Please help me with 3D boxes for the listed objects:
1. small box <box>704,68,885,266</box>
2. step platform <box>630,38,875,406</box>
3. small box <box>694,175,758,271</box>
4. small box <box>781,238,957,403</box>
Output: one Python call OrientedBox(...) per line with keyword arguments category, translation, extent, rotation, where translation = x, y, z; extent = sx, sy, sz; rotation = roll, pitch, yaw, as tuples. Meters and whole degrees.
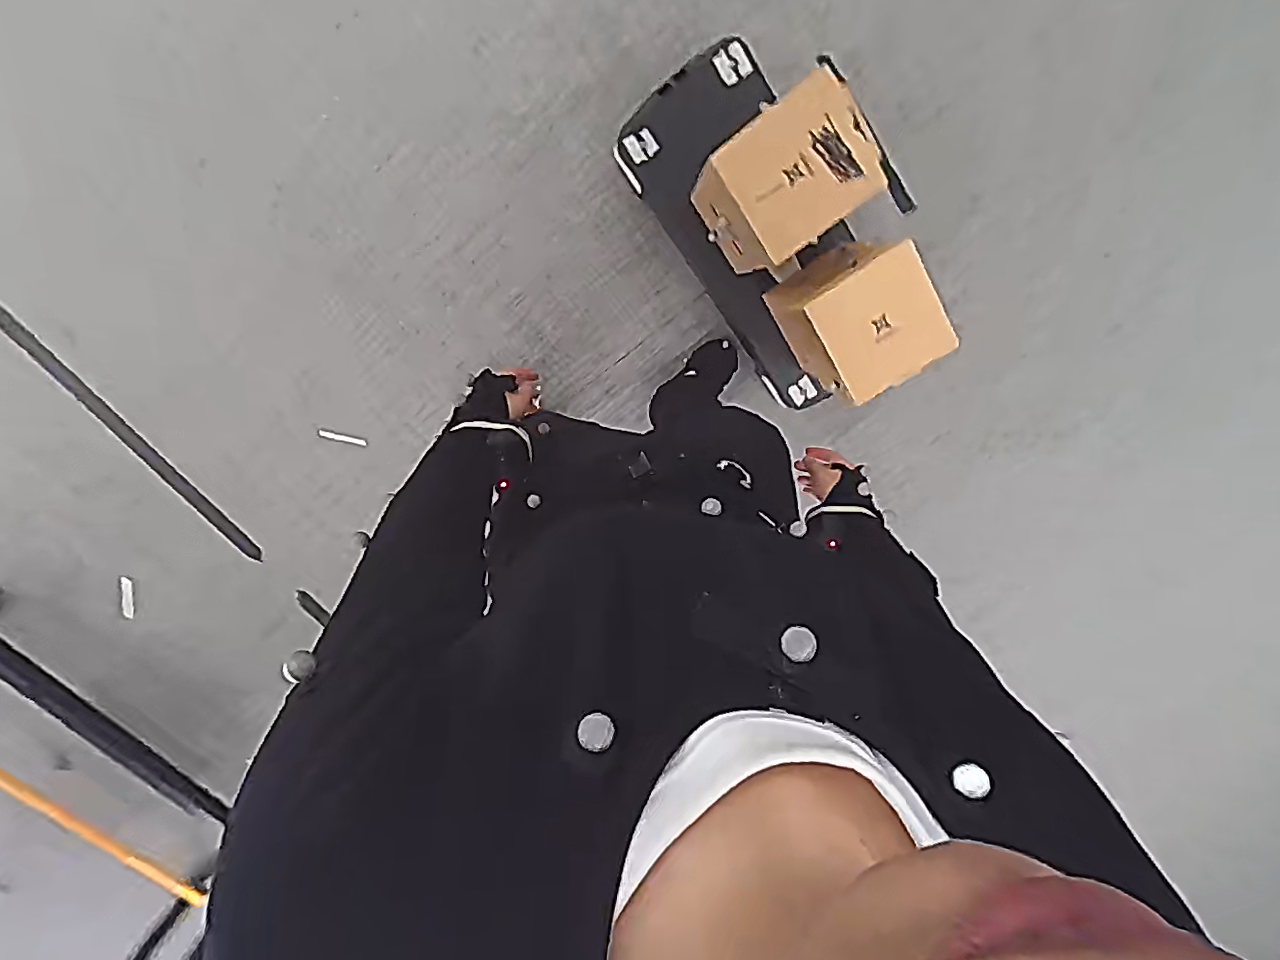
OrientedBox(category="small box", translation=(0.209, -0.433, 0.783), extent=(0.179, 0.176, 0.168), rotation=(-33, 106, 12))
OrientedBox(category="step platform", translation=(0.277, -0.489, 1.120), extent=(0.286, 0.204, 0.684), rotation=(-35, 105, 12))
OrientedBox(category="small box", translation=(0.211, -0.485, 0.939), extent=(0.179, 0.176, 0.168), rotation=(-33, 106, 12))
OrientedBox(category="small box", translation=(0.345, -0.248, 0.848), extent=(0.168, 0.176, 0.179), rotation=(-32, 107, 12))
